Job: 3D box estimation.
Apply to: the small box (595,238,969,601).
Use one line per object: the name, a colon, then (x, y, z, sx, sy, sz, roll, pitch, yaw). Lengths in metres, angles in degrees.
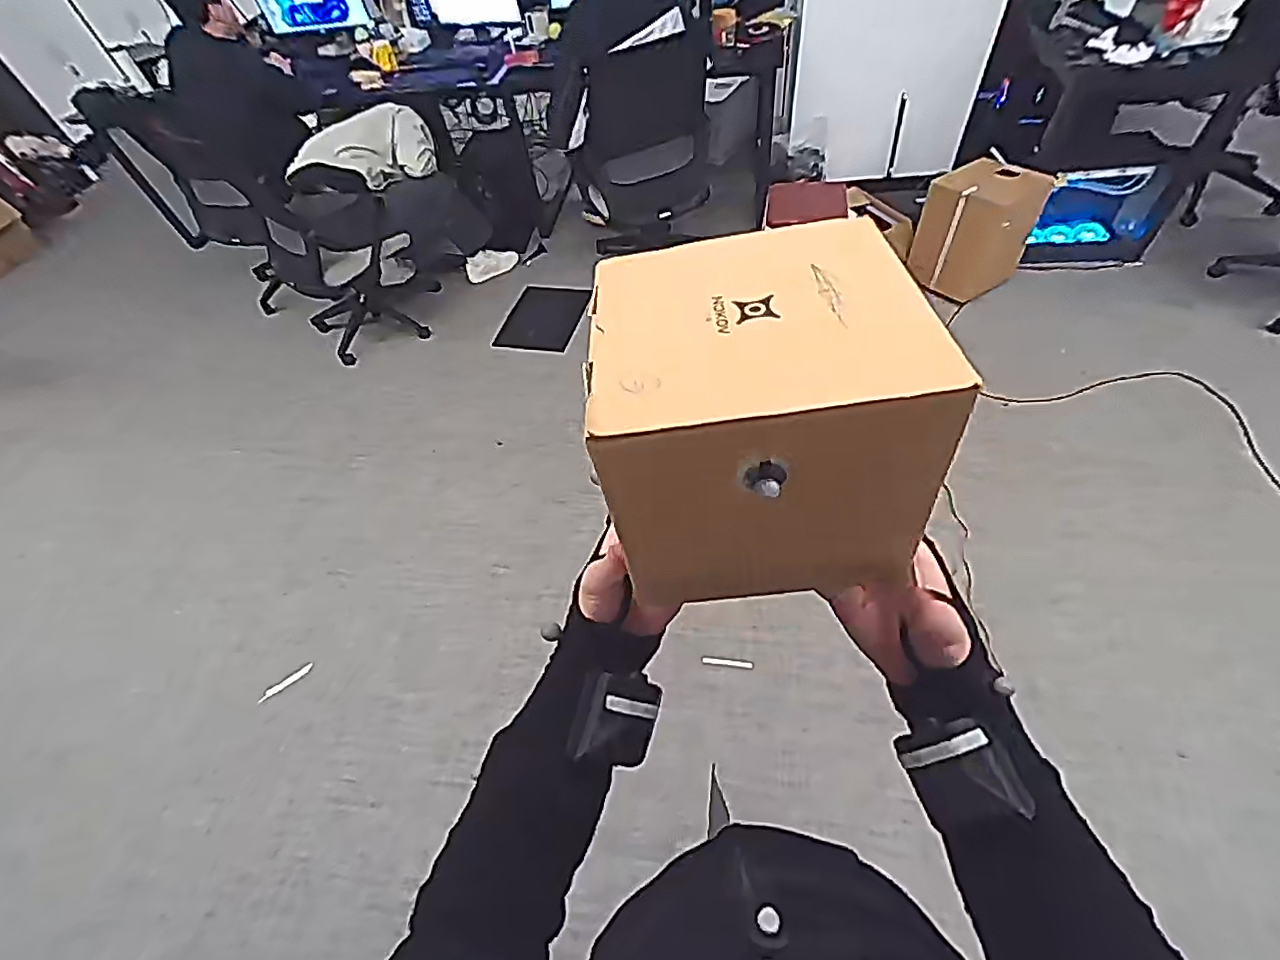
small box: (0.074, -0.032, 0.362, 0.179, 0.176, 0.168, -6, 50, 5)
